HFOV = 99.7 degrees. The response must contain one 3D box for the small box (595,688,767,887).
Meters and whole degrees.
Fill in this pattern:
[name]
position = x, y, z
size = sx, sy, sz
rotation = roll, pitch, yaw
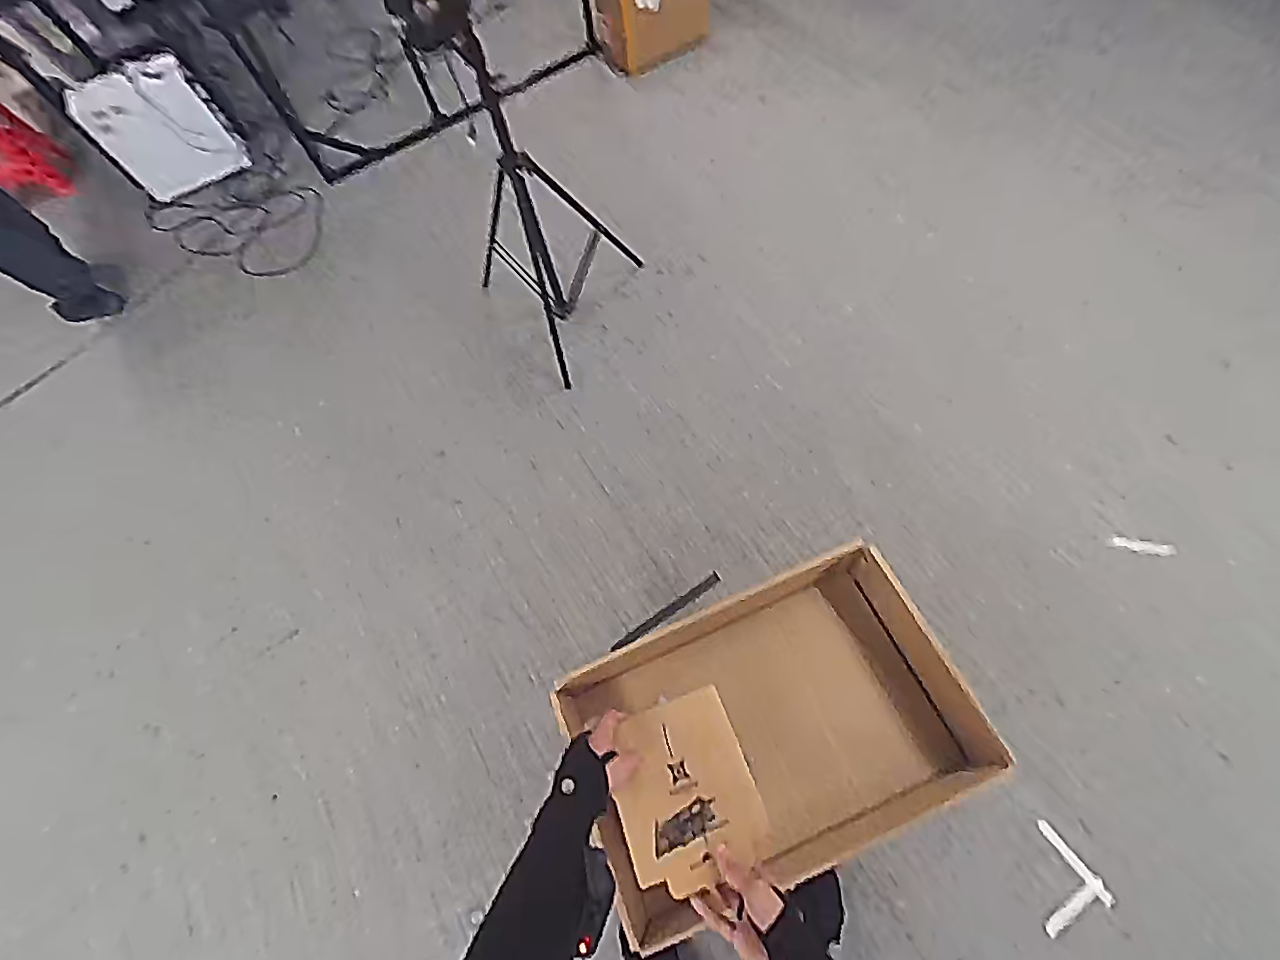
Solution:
[small box]
position = 0.054, 0.401, 0.731
size = 0.168, 0.176, 0.179
rotation = -21, 64, -4
